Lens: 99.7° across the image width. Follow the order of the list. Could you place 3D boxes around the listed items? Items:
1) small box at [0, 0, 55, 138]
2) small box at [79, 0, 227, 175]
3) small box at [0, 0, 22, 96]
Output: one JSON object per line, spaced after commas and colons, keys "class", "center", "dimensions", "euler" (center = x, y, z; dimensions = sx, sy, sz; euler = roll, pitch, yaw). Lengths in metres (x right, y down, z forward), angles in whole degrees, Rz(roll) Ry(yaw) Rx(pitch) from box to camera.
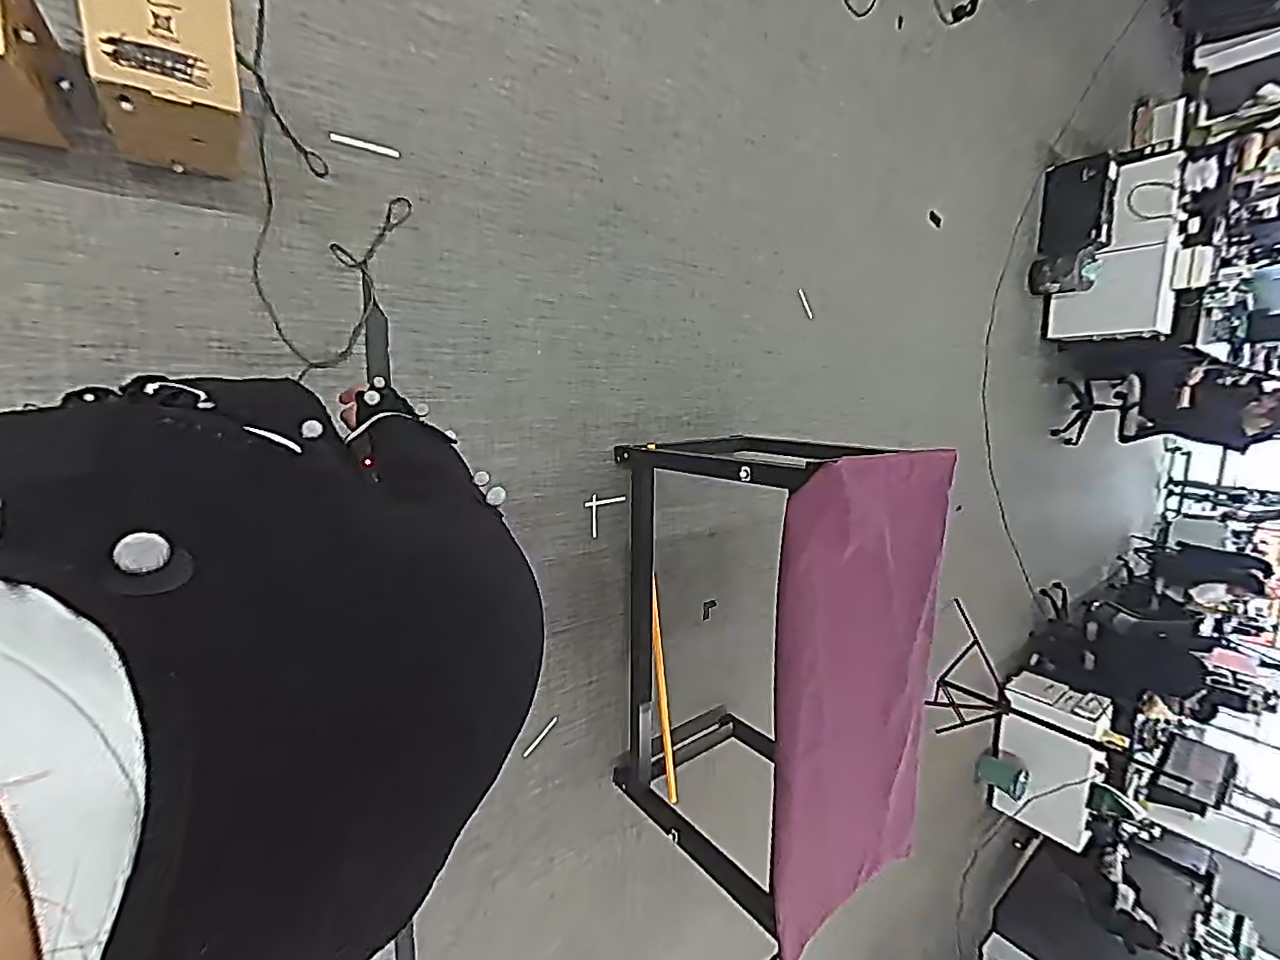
{"class": "small box", "center": [-1.007, -0.633, 0.788], "dimensions": [0.179, 0.176, 0.168], "euler": [-5, 101, -37]}
{"class": "small box", "center": [-0.824, -0.659, 0.928], "dimensions": [0.168, 0.176, 0.179], "euler": [-7, 103, -37]}
{"class": "small box", "center": [-0.908, -0.612, 0.662], "dimensions": [0.179, 0.176, 0.168], "euler": [-4, 100, -36]}
